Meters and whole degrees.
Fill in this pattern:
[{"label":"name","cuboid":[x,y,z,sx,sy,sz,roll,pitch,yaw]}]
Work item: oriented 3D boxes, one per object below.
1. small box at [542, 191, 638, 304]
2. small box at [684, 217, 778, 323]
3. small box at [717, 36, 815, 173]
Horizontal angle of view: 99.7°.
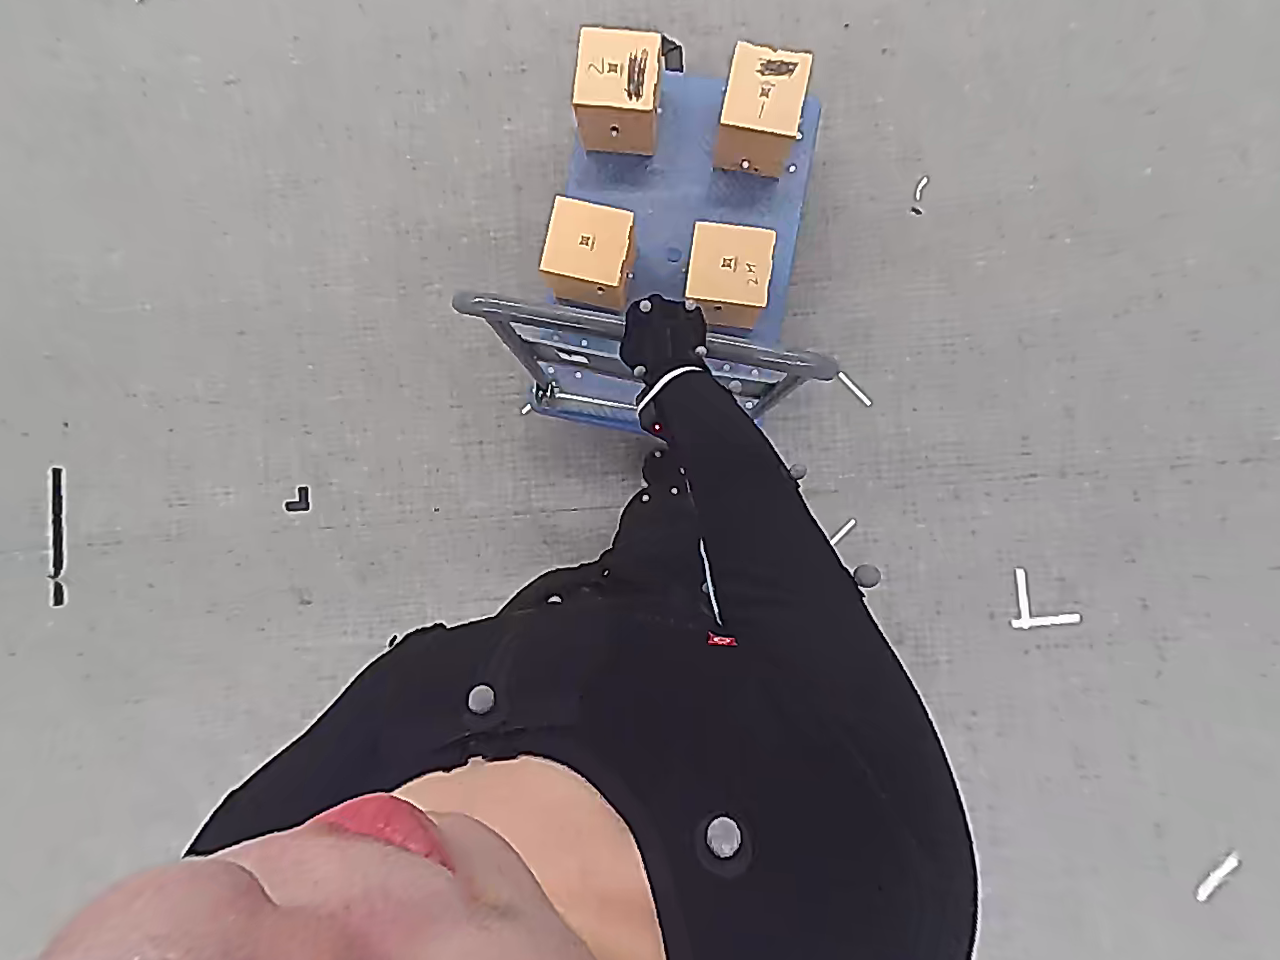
[{"label":"small box","cuboid":[-0.108,-0.519,1.230,0.179,0.176,0.168,13,90,0]},{"label":"small box","cuboid":[0.197,-0.466,1.220,0.179,0.176,0.168,8,91,2]},{"label":"small box","cuboid":[0.273,-0.832,1.212,0.168,0.176,0.179,12,92,2]}]
